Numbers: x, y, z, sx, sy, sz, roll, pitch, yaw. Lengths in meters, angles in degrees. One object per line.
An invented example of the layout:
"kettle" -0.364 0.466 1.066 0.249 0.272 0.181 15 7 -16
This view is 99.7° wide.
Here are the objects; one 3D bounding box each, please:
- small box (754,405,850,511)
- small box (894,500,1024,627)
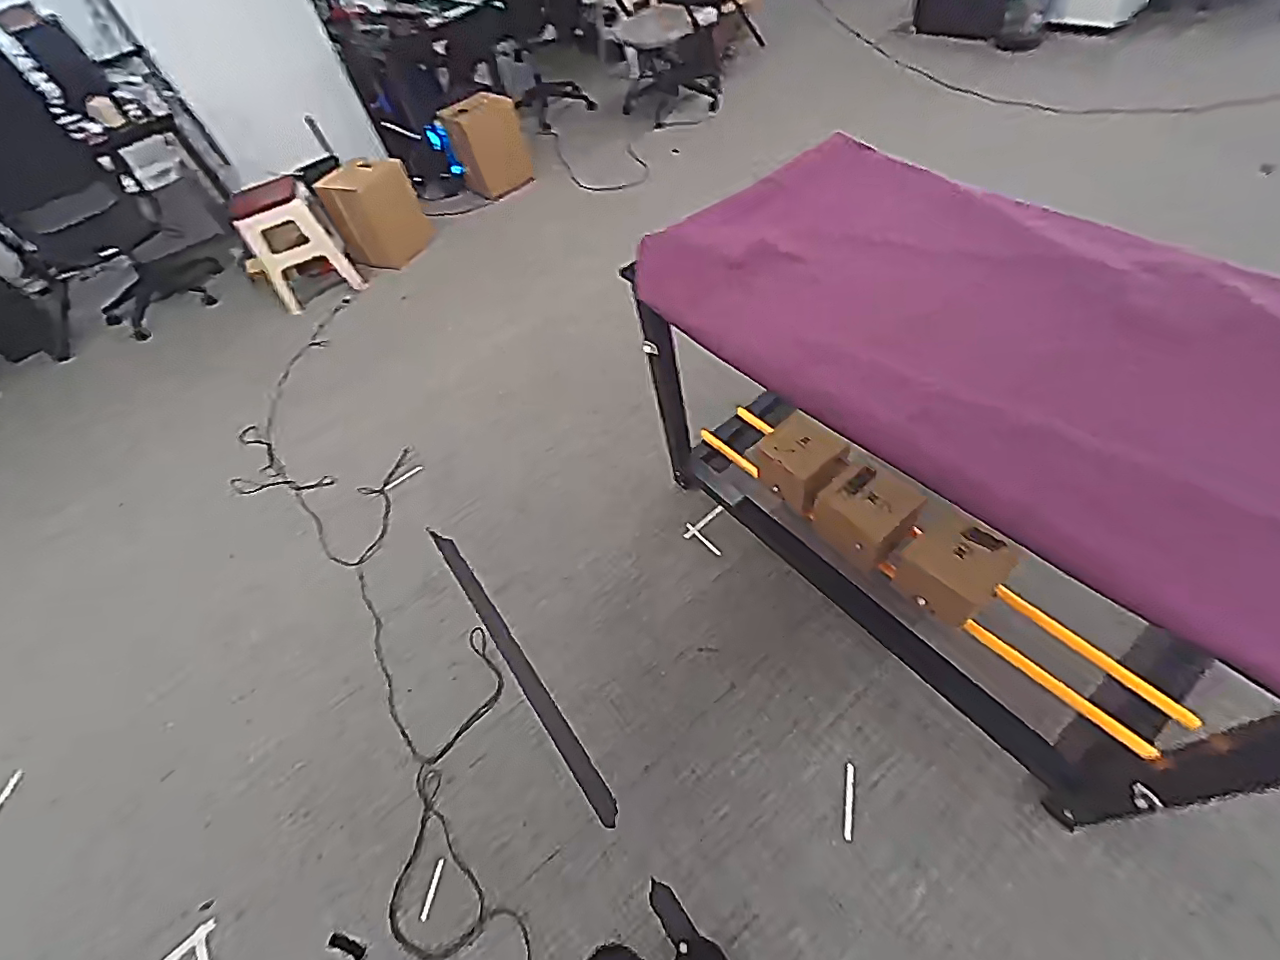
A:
"small box" 0.416 -0.055 1.409 0.179 0.176 0.168 -38 56 -13
"small box" 0.678 0.184 1.173 0.179 0.176 0.168 -40 54 -14
